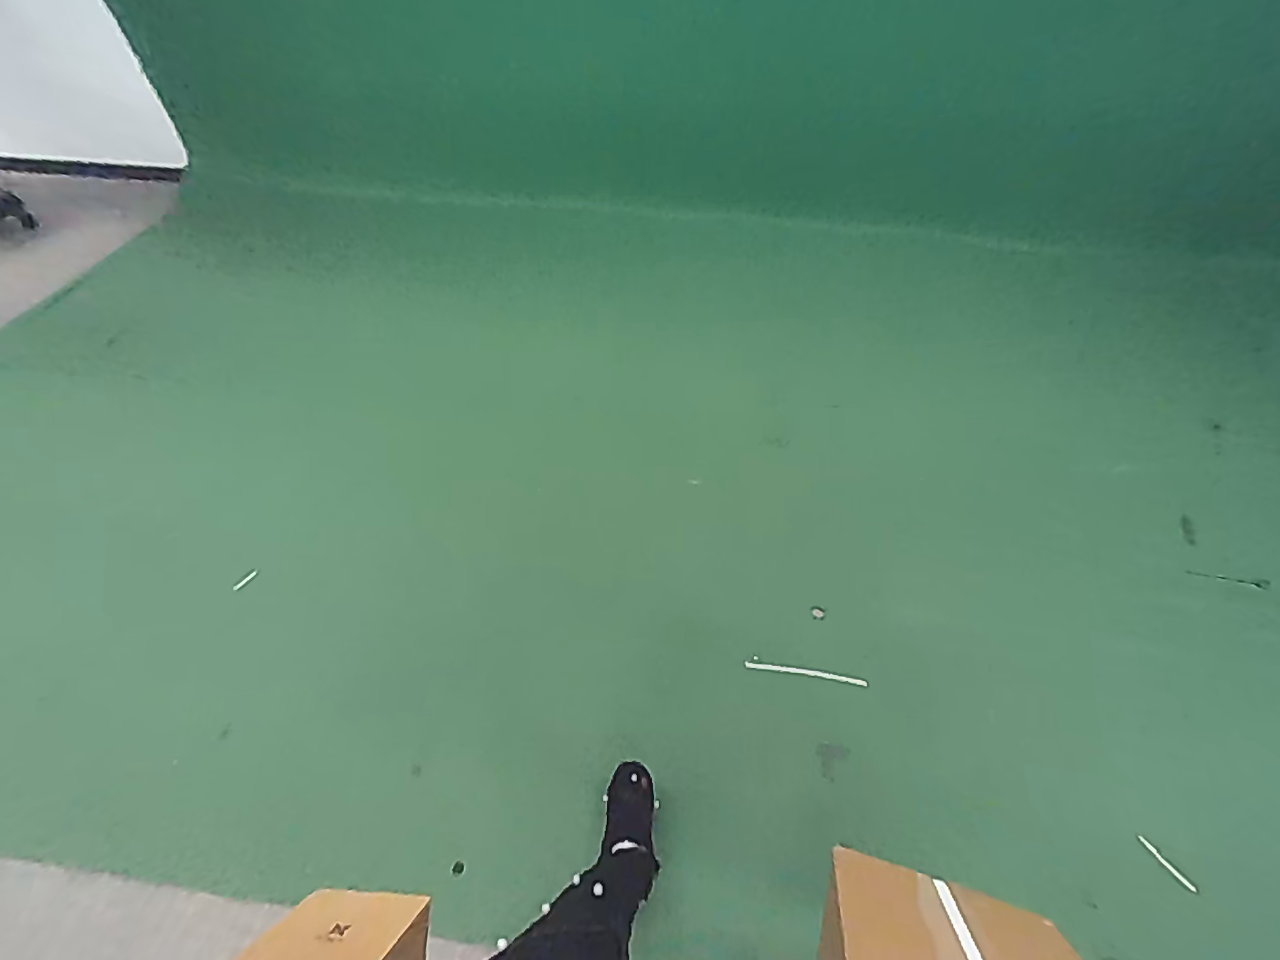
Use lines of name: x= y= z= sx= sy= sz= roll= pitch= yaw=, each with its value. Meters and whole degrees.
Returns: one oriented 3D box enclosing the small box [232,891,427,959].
small box: x=-0.380 y=0.638 z=0.646 sx=0.168 sy=0.179 sz=0.176 roll=2 pitch=78 yaw=3
